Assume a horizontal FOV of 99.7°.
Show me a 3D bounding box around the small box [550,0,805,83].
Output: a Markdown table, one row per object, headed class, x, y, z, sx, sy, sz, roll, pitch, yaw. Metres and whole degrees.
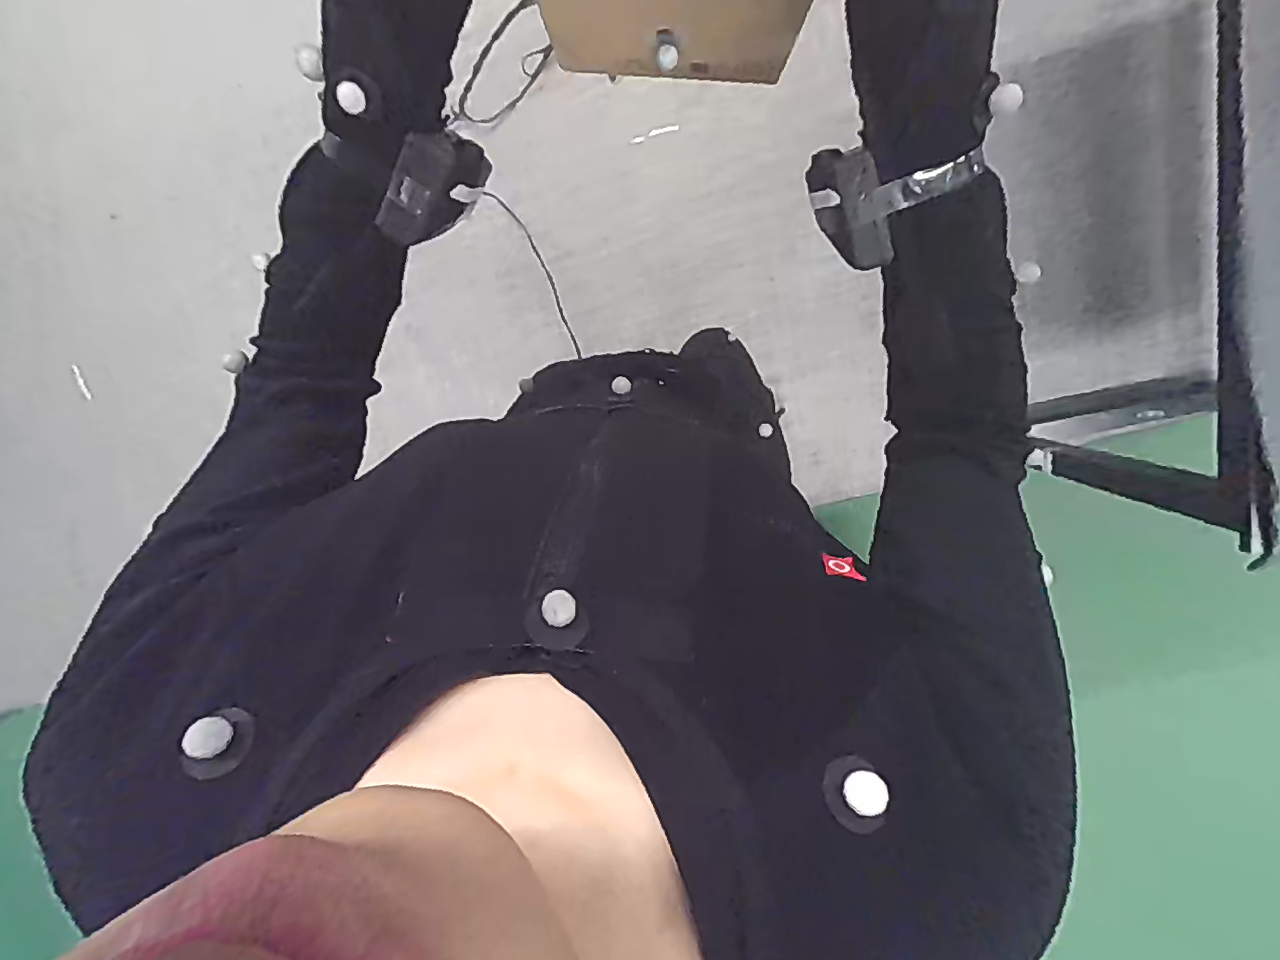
| class | x | y | z | sx | sy | sz | roll | pitch | yaw |
| --- | --- | --- | --- | --- | --- | --- | --- | --- | --- |
| small box | 0.024 | -0.373 | 0.312 | 0.168 | 0.176 | 0.179 | 4 | 103 | 2 |
